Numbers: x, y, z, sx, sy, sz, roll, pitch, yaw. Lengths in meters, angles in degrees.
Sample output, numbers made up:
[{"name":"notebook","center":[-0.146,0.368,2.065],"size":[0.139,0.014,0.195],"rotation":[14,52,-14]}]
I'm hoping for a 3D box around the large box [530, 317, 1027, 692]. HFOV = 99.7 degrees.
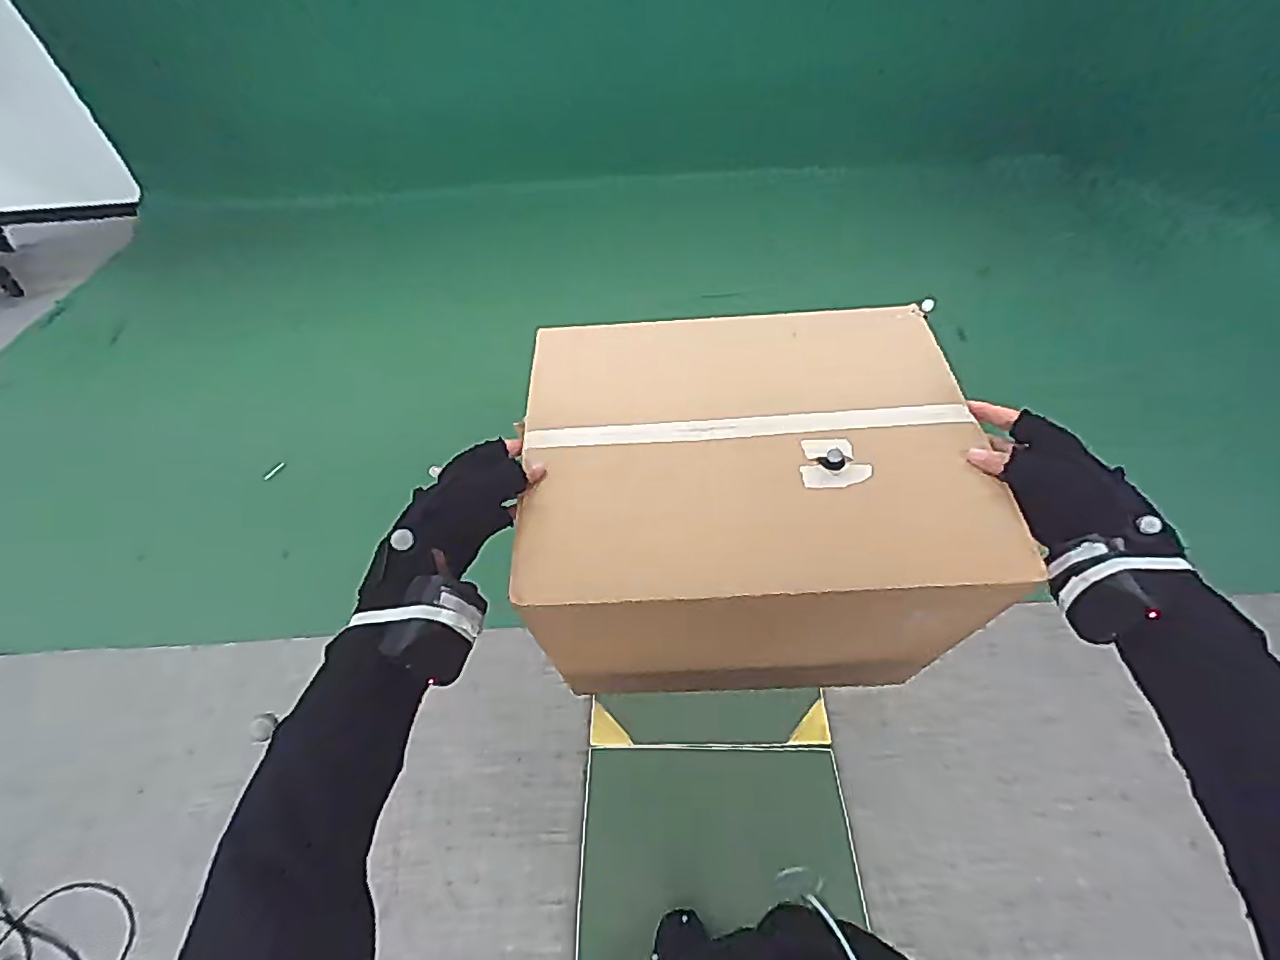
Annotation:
[{"name":"large box","center":[0.107,0.043,0.630],"size":[0.408,0.320,0.320],"rotation":[-3,57,1]}]
